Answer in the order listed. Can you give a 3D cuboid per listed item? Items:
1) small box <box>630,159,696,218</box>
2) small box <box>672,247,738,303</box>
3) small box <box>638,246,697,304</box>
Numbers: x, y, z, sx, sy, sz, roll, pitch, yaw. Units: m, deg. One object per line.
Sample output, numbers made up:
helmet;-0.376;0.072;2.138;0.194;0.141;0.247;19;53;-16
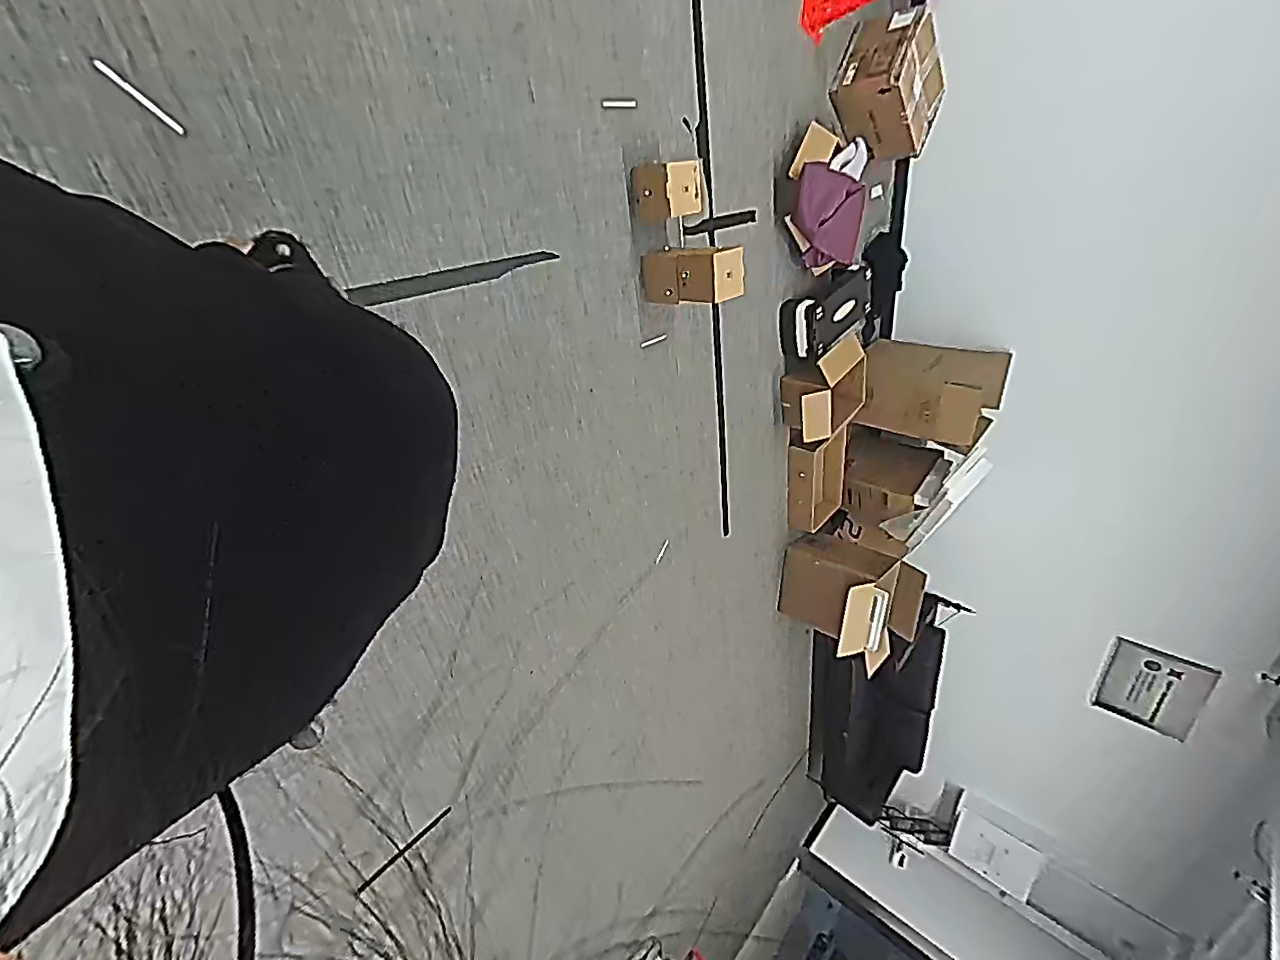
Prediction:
small box;0.077;-1.032;1.918;0.179;0.176;0.168;-30;126;-37
small box;0.237;-0.750;1.964;0.179;0.176;0.168;-30;126;-36
small box;0.111;-0.785;2.062;0.168;0.176;0.179;-34;129;-36
